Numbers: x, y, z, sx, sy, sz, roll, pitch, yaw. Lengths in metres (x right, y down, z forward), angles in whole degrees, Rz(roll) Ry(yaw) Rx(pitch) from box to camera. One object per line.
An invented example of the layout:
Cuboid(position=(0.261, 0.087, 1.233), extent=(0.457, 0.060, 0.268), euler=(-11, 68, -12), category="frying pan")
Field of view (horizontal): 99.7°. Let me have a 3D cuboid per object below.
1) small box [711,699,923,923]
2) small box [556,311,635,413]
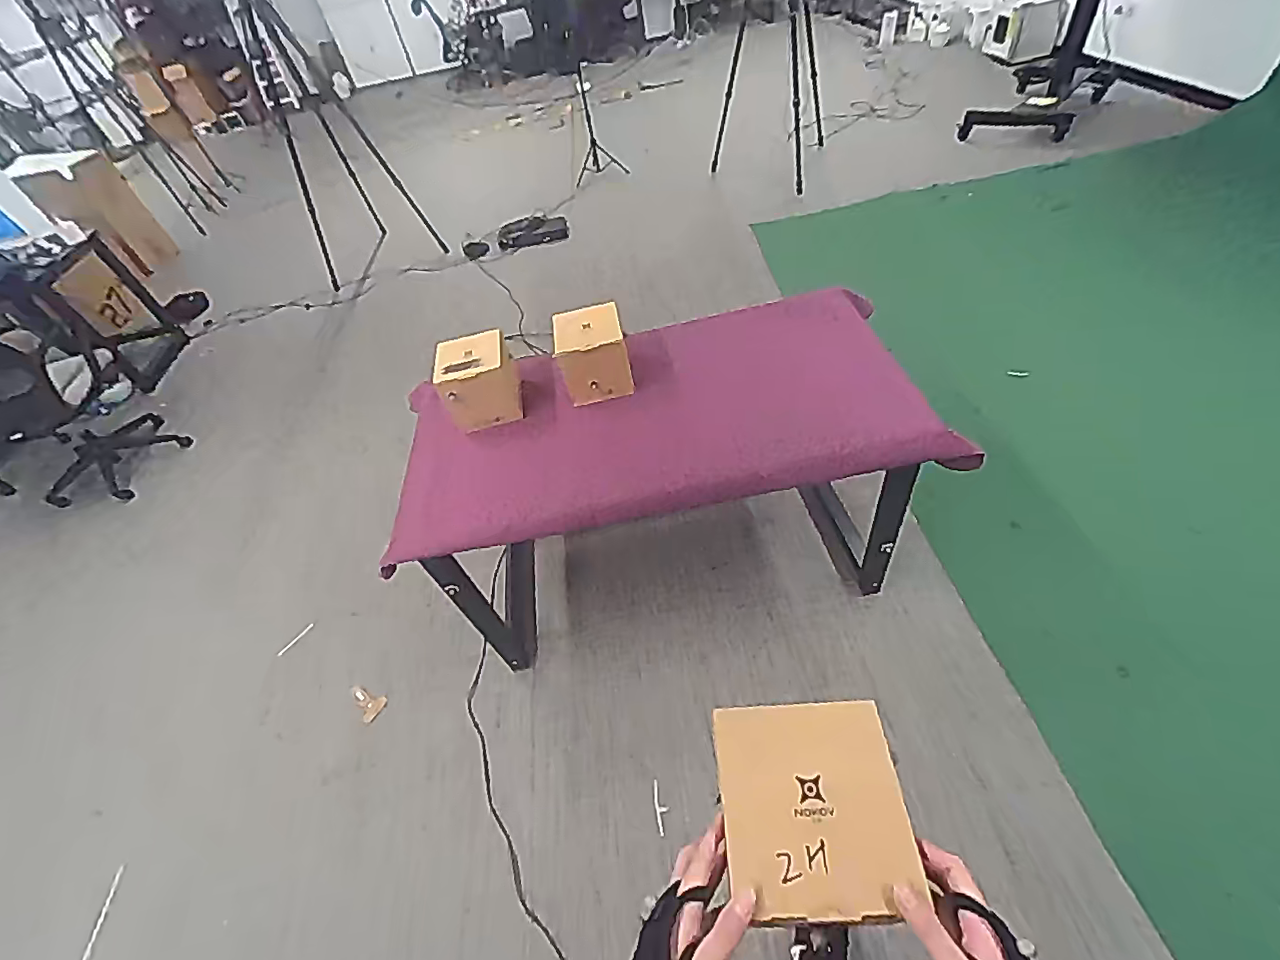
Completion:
Cuboid(position=(0.164, 0.348, 0.566), extent=(0.168, 0.176, 0.179), euler=(-6, 50, 6), category="small box")
Cuboid(position=(-0.114, -0.301, 1.390), extent=(0.168, 0.176, 0.179), euler=(-13, 49, 2), category="small box")
